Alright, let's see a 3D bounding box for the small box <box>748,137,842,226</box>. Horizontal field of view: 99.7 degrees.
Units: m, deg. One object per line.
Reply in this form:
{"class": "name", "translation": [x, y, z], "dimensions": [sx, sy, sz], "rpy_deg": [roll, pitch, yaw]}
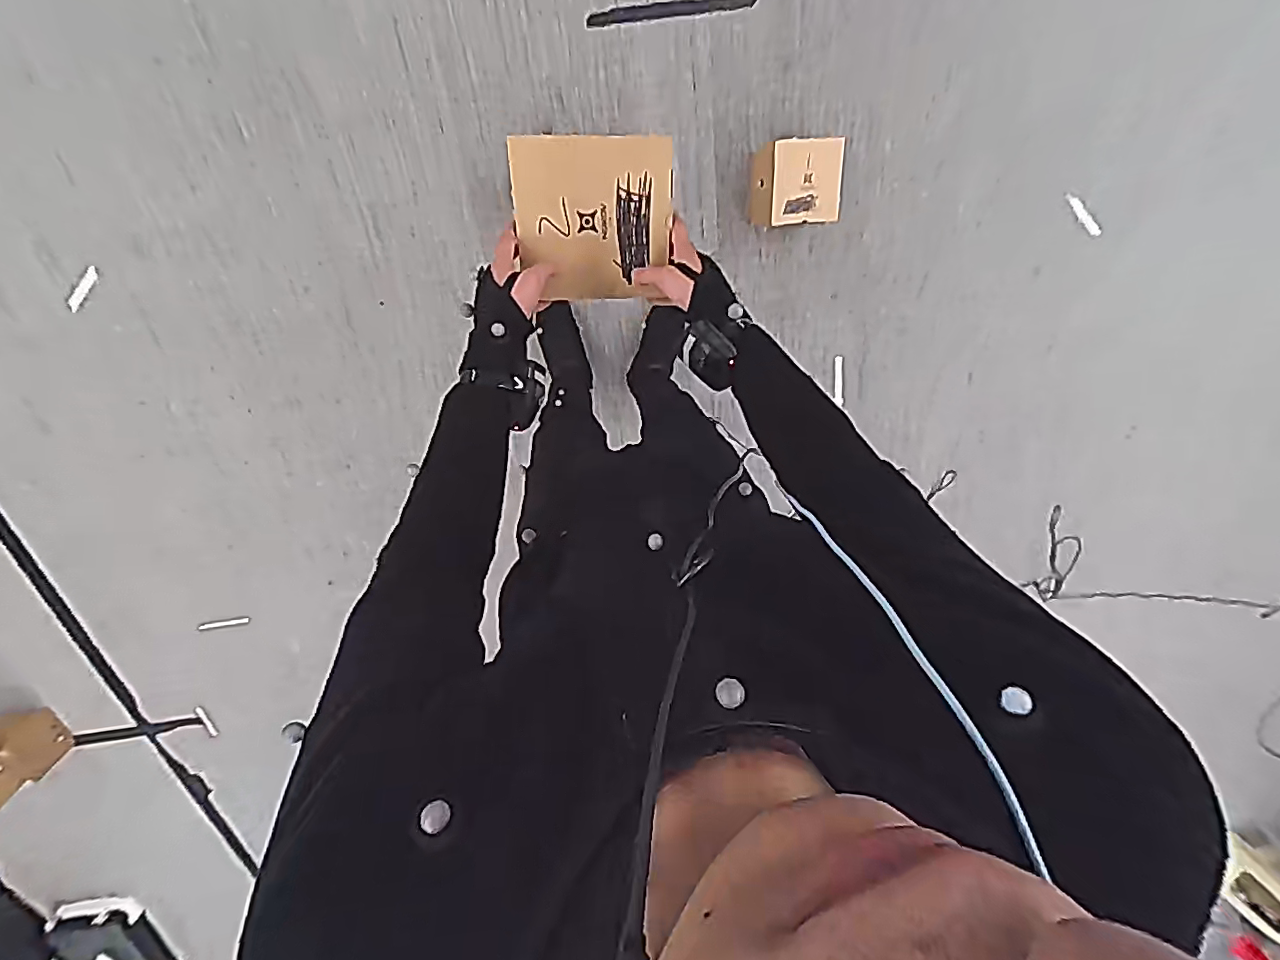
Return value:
{"class": "small box", "translation": [0.367, -0.718, 1.312], "dimensions": [0.168, 0.176, 0.179], "rpy_deg": [-6, 115, -5]}

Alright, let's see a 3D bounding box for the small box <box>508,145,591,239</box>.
{"class": "small box", "translation": [-0.203, -0.668, 1.264], "dimensions": [0.168, 0.176, 0.179], "rpy_deg": [-7, 115, -4]}
